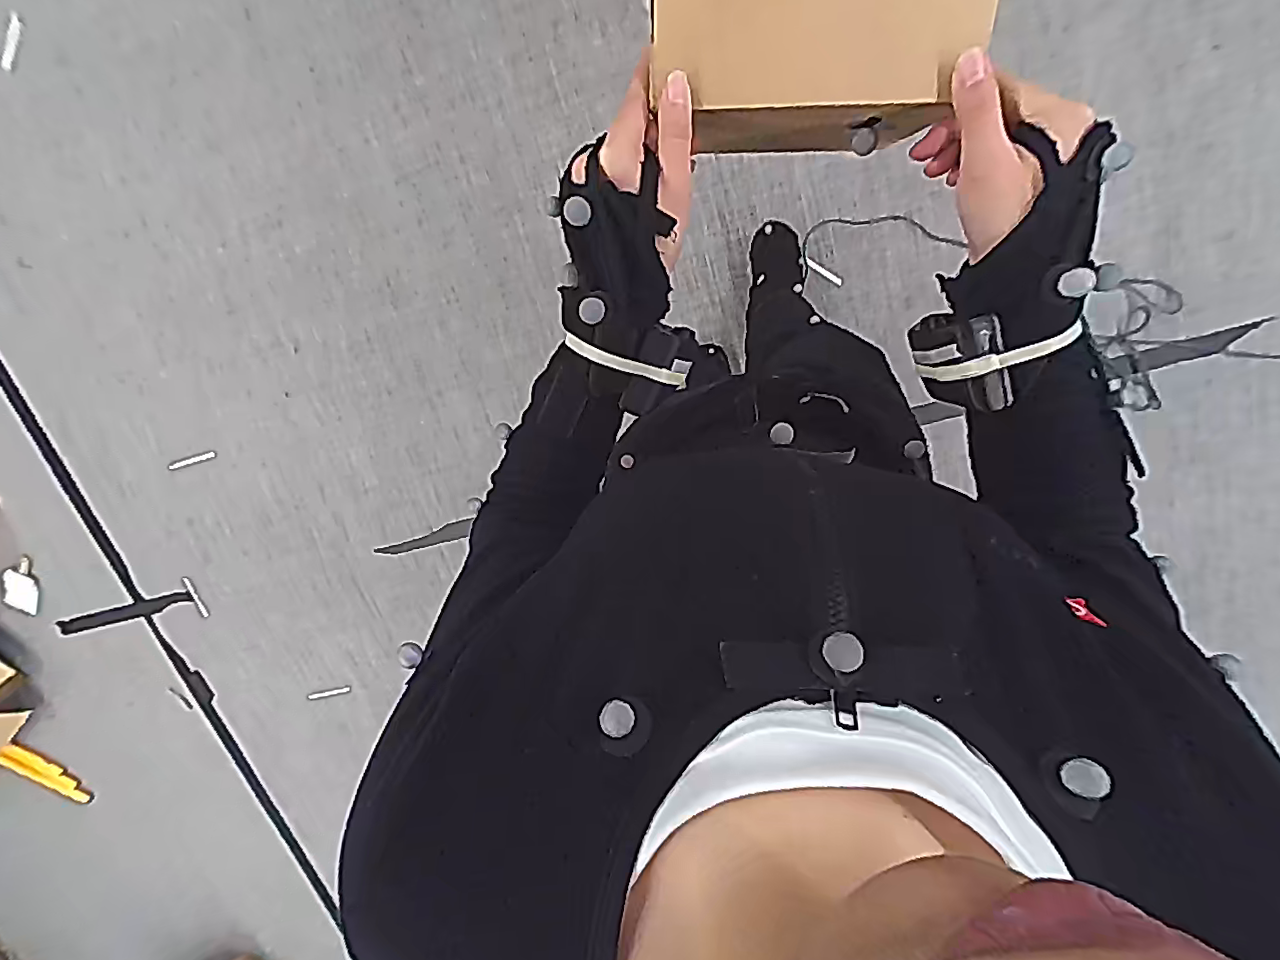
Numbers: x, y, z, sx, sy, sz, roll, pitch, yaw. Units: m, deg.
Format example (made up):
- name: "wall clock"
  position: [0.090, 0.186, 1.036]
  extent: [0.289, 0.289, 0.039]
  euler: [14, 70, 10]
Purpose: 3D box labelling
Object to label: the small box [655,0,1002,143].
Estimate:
- name: "small box"
  position: [0.101, -0.316, 0.329]
  extent: [0.179, 0.176, 0.168]
  euler: [2, 113, 6]
